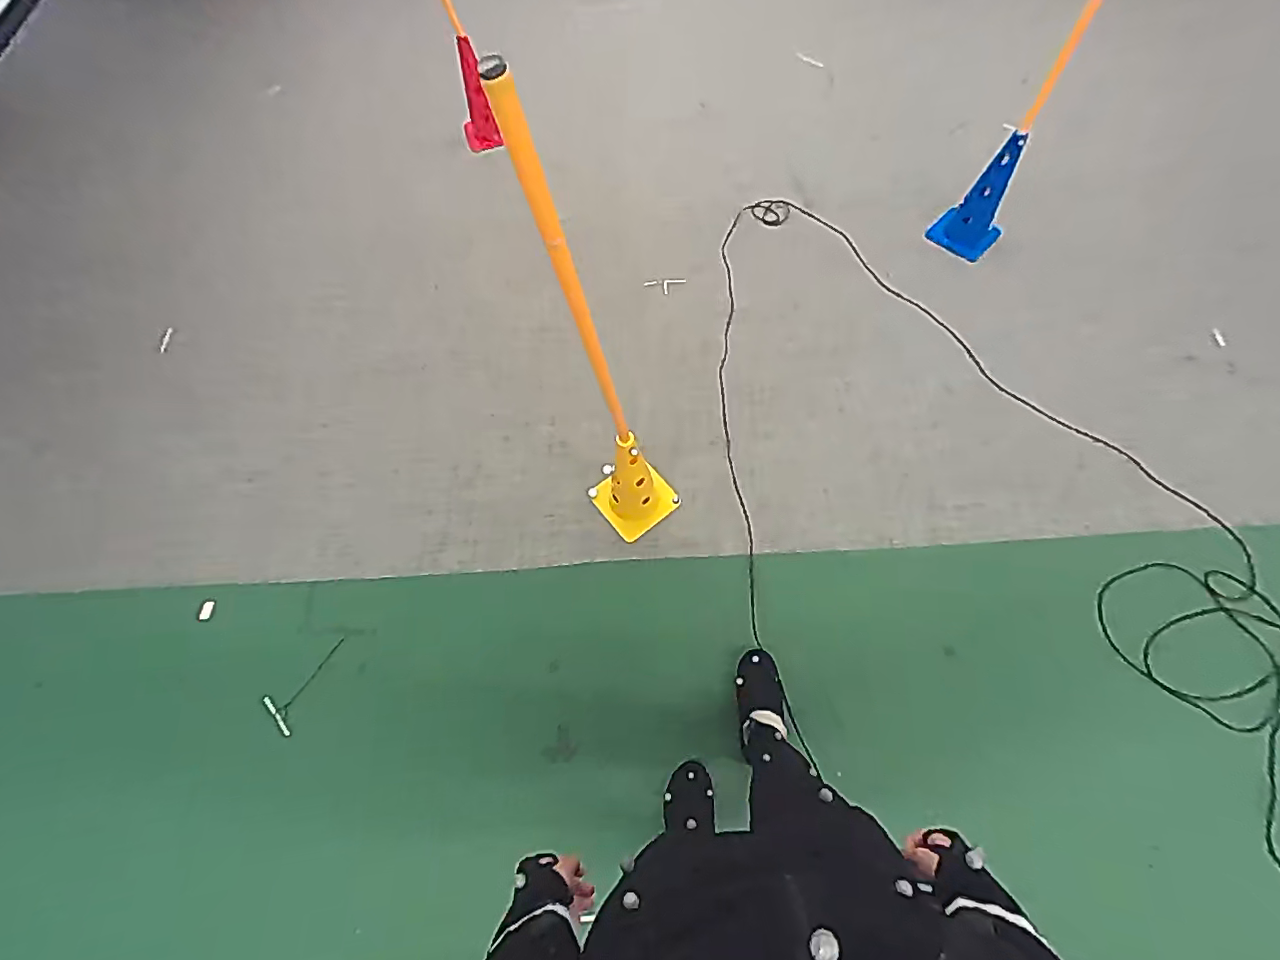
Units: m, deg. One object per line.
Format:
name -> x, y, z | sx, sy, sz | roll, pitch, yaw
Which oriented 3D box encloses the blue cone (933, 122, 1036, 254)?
blue cone -> 1.126, -0.945, 1.728 | 0.192, 0.380, 0.193 | 39, 71, 19
